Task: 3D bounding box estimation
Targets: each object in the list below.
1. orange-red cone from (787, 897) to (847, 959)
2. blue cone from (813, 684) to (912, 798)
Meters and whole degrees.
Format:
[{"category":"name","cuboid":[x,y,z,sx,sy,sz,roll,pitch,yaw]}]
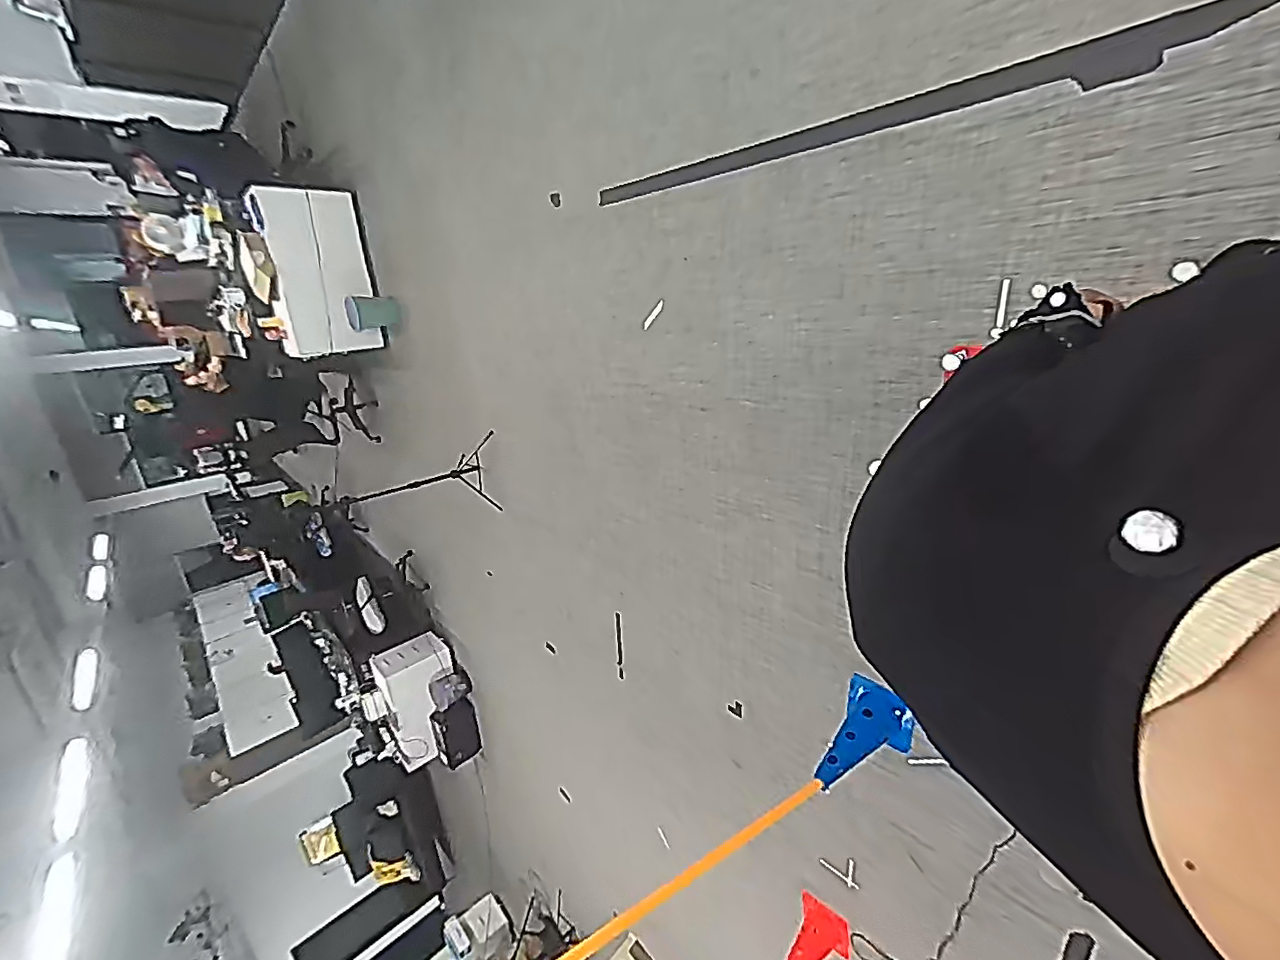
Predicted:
[{"category":"orange-red cone","cuboid":[0.590,1.798,1.996,0.199,0.360,0.198,9,113,46]},{"category":"blue cone","cuboid":[0.616,0.777,1.561,0.193,0.380,0.192,20,121,44]}]
